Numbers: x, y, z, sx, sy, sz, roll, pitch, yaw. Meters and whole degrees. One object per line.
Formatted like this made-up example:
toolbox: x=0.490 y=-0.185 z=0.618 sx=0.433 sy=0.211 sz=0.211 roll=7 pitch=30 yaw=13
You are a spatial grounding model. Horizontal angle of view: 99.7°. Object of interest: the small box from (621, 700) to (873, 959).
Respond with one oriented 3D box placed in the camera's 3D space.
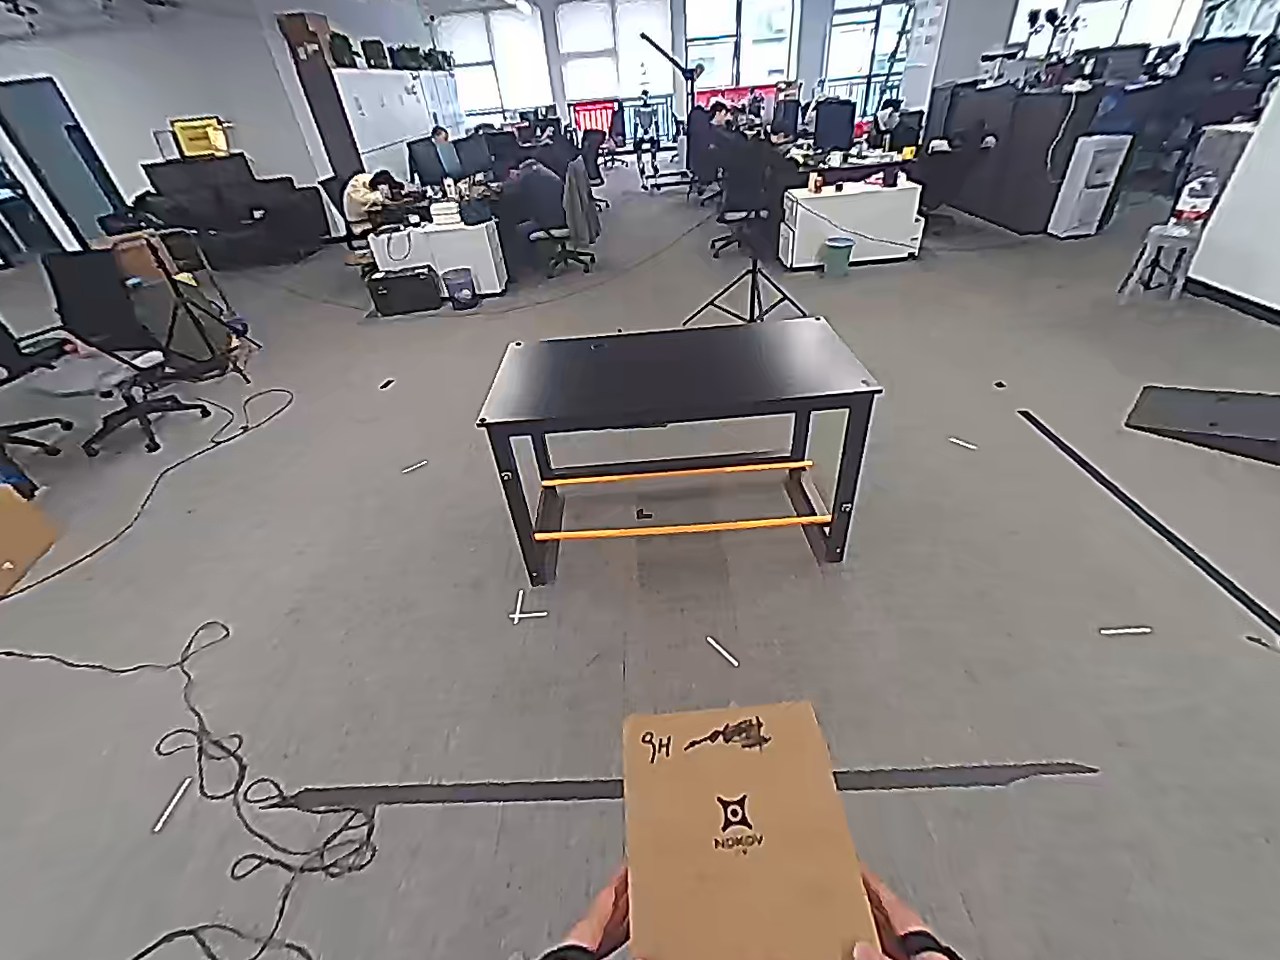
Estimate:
small box: x=0.076 y=0.315 z=0.468 sx=0.168 sy=0.176 sz=0.179 roll=-5 pitch=46 yaw=0
